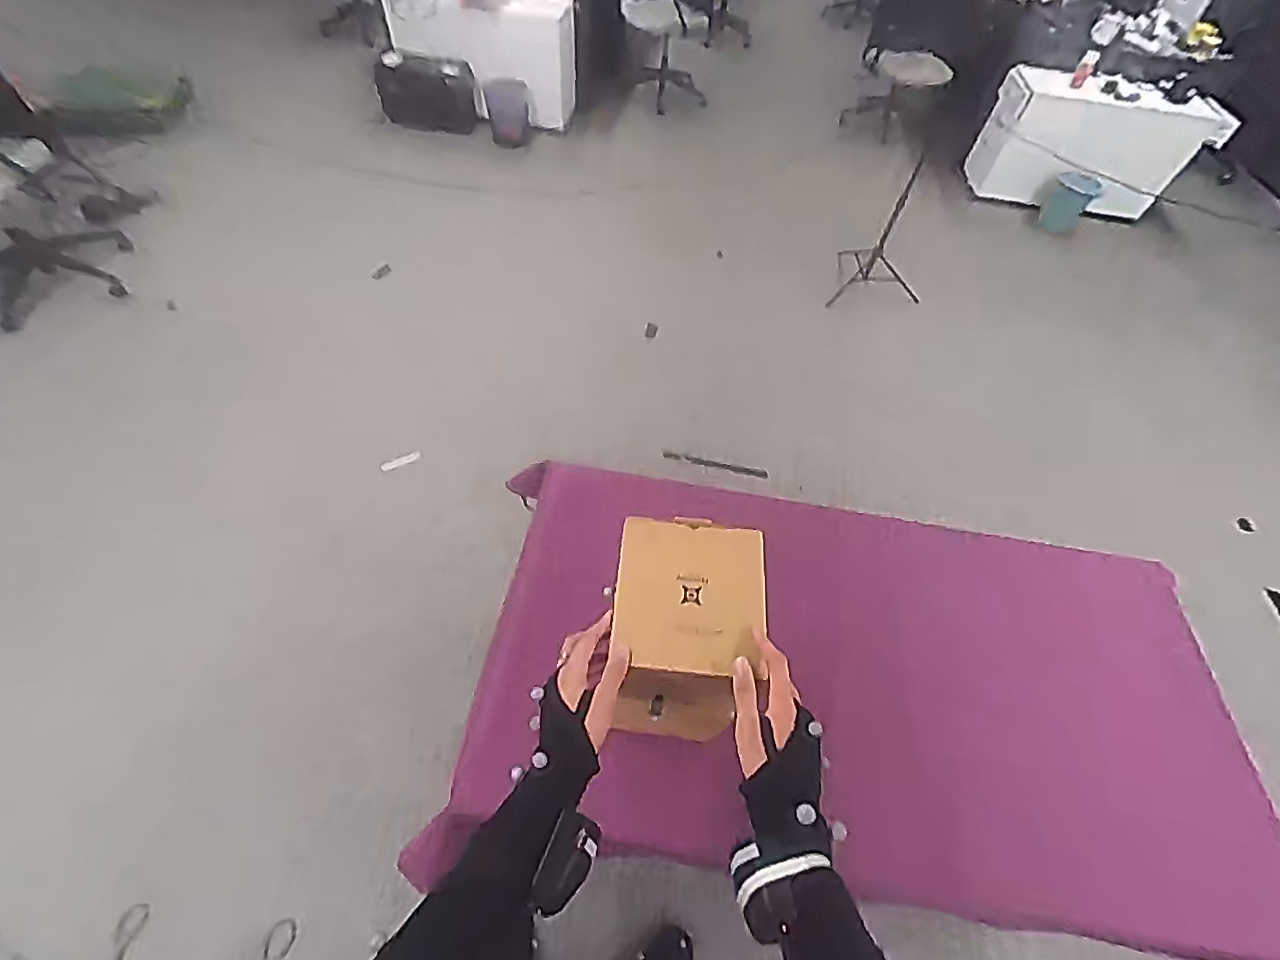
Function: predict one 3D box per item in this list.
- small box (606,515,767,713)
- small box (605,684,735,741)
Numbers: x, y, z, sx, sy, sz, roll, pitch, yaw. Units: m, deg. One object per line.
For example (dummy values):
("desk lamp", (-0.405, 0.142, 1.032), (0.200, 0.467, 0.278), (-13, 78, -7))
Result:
("small box", (0.051, 0.167, 0.658), (0.168, 0.176, 0.179), (7, 56, 0))
("small box", (0.042, 0.262, 0.791), (0.168, 0.176, 0.179), (9, 55, 1))
